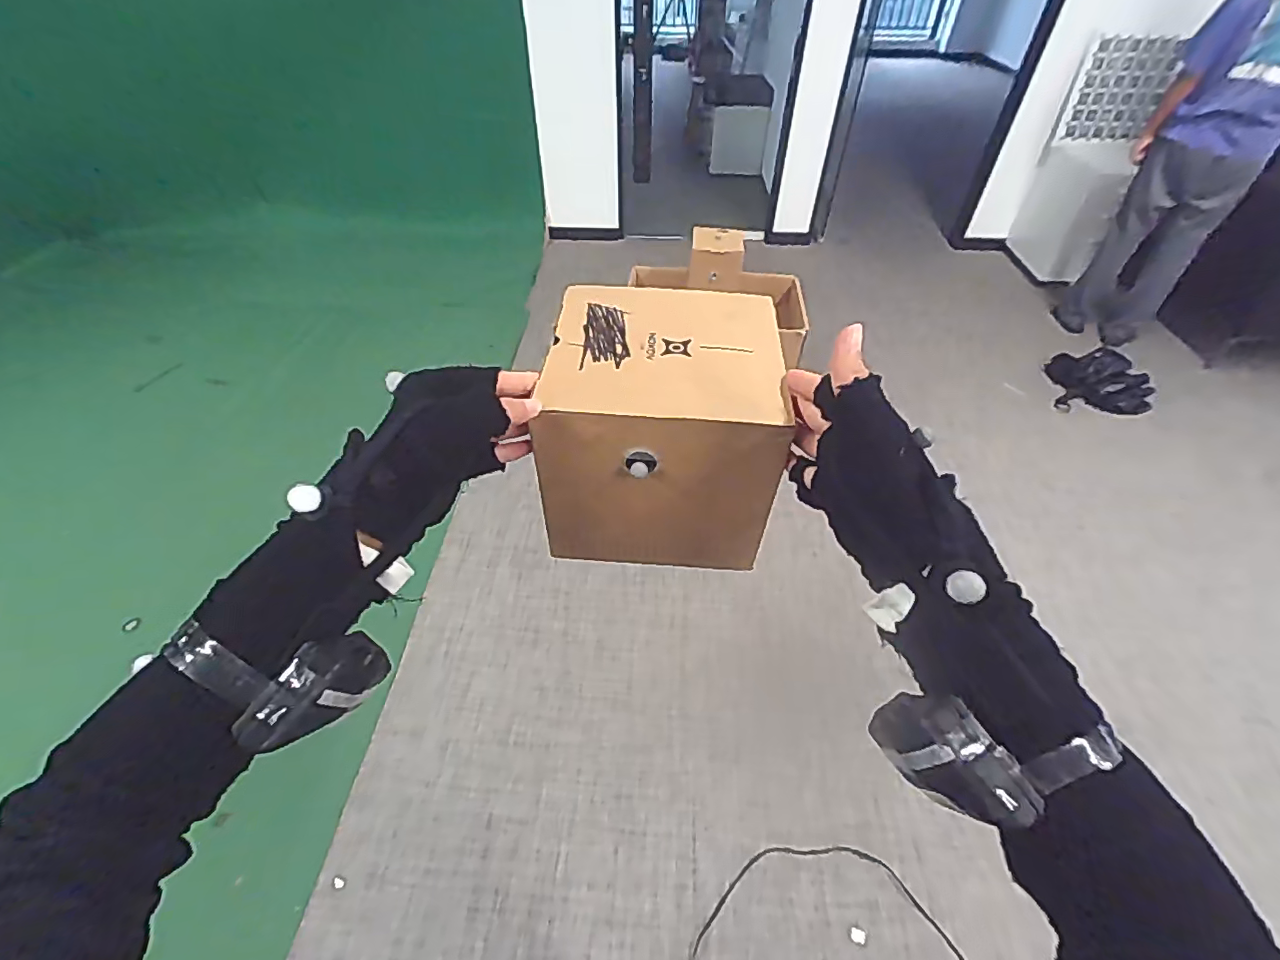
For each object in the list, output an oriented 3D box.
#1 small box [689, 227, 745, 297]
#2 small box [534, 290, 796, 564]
[{"bbox_3d":[0.256,-0.727,1.816,0.168,0.176,0.179,5,47,2],"label":"small box"},{"bbox_3d":[0.020,-0.043,0.464,0.179,0.176,0.168,4,48,2],"label":"small box"}]
